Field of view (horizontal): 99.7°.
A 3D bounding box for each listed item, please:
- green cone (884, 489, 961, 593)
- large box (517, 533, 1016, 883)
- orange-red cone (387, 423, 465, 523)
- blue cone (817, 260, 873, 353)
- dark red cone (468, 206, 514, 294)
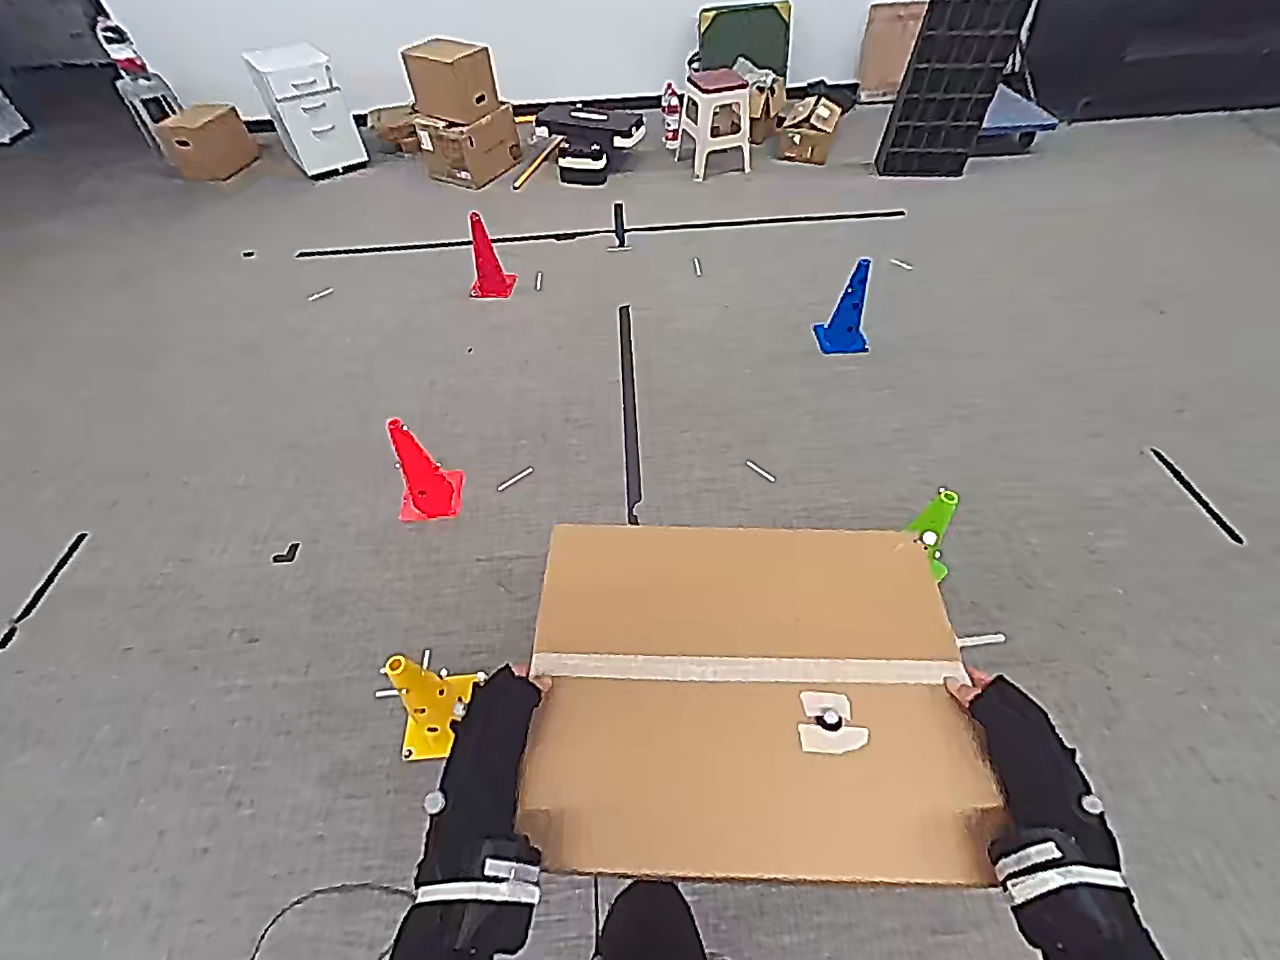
[{"bbox_3d":[0.789,0.154,1.493,0.202,0.368,0.200,-34,58,-24],"label":"green cone"},{"bbox_3d":[0.099,0.274,0.631,0.408,0.320,0.320,1,53,1],"label":"large box"},{"bbox_3d":[-0.717,-0.046,1.728,0.198,0.360,0.199,-7,52,-2],"label":"orange-red cone"},{"bbox_3d":[0.870,-0.715,2.214,0.192,0.380,0.193,-1,51,0],"label":"blue cone"},{"bbox_3d":[-0.731,-1.072,2.527,0.201,0.394,0.202,1,51,2],"label":"dark red cone"}]
